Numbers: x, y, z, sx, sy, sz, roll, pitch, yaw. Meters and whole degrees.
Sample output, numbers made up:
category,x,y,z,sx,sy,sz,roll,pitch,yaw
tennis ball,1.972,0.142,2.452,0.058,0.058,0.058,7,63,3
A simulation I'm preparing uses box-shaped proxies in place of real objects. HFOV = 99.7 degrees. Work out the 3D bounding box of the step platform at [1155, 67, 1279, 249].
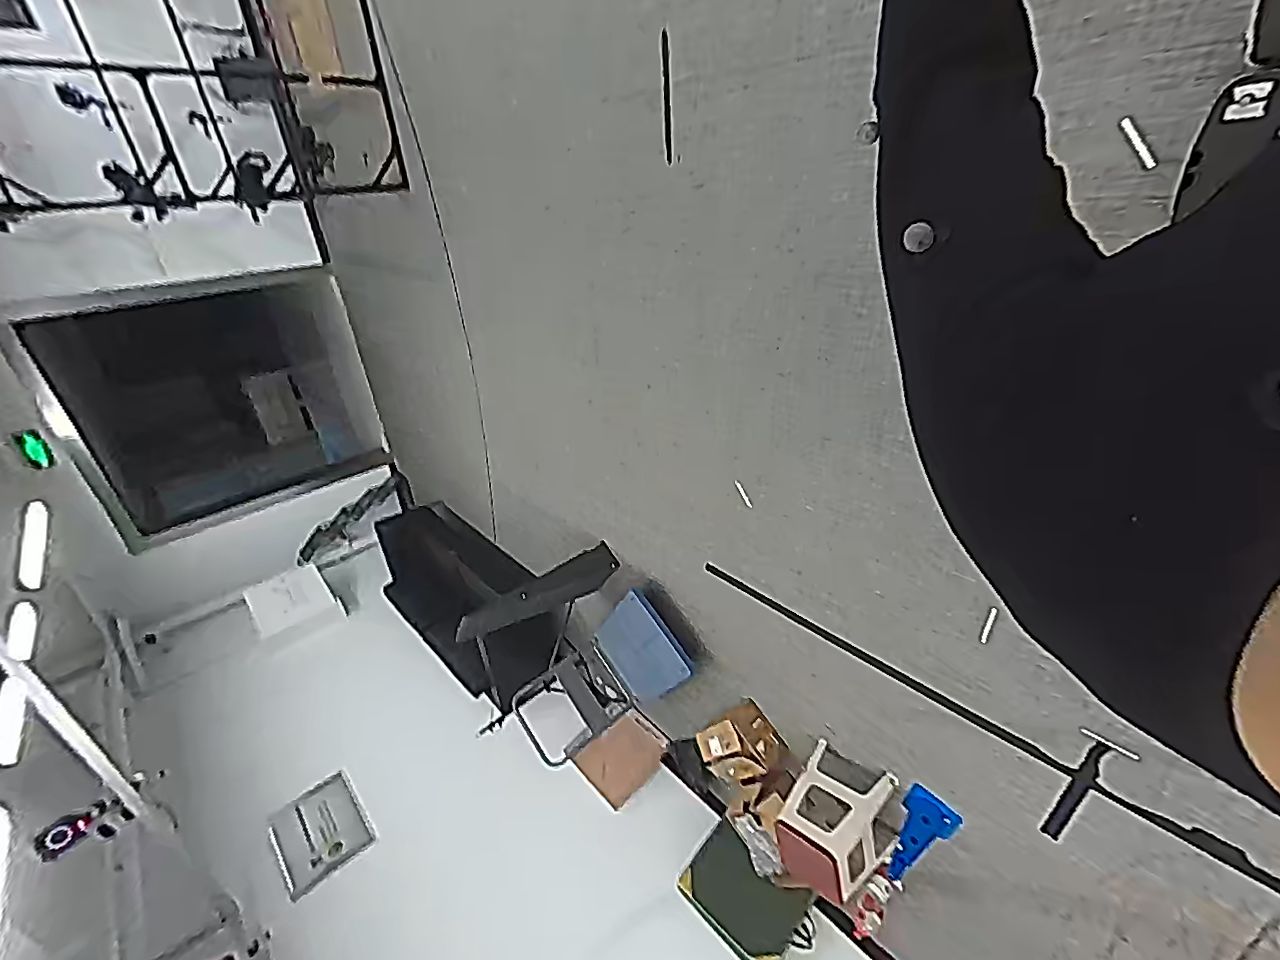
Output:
category,x,y,z,sx,sy,sz,roll,pitch,yaw
step platform,1.269,-0.513,0.832,0.684,0.204,0.286,24,130,44
